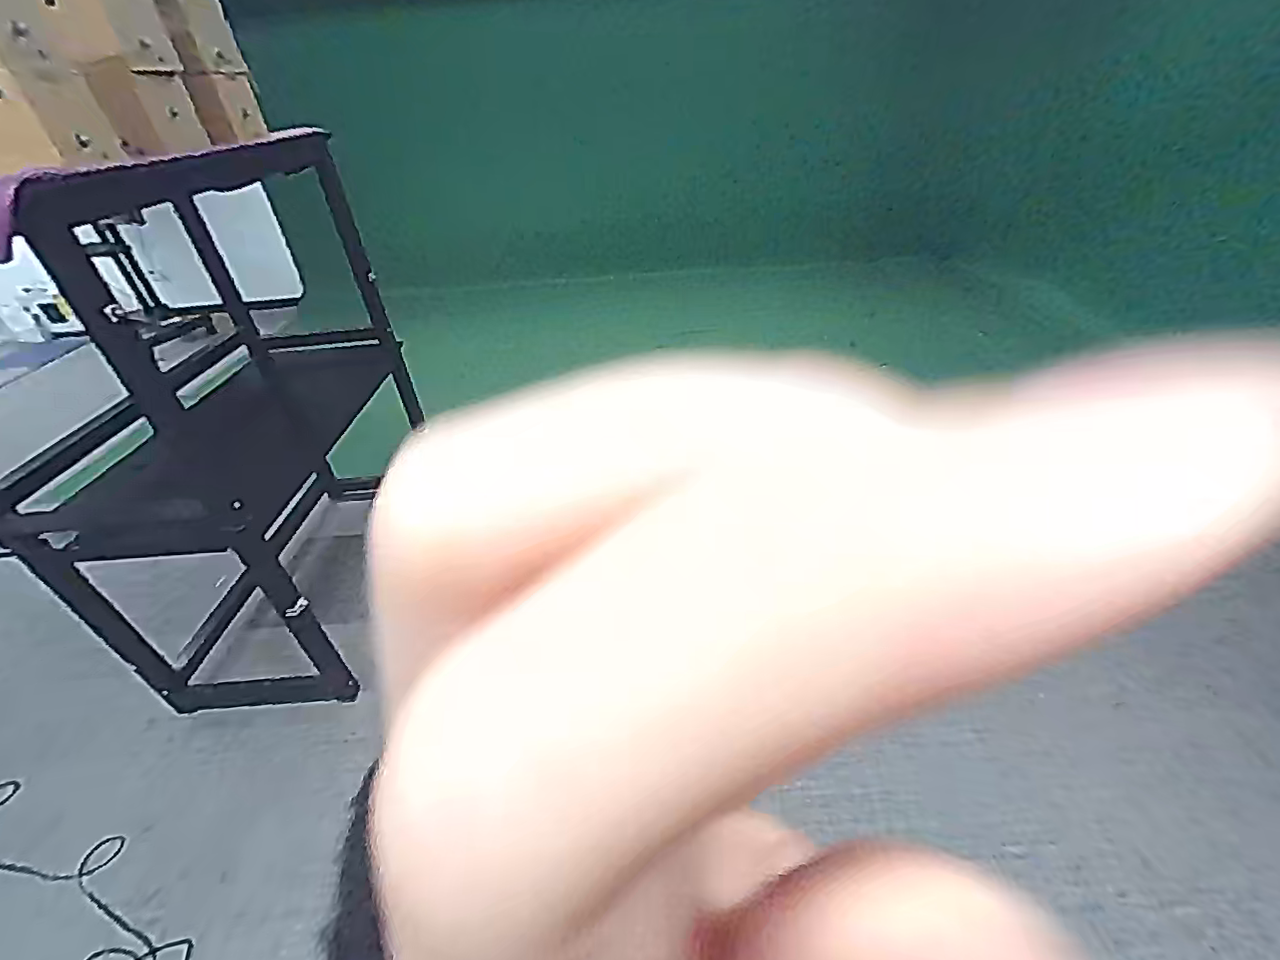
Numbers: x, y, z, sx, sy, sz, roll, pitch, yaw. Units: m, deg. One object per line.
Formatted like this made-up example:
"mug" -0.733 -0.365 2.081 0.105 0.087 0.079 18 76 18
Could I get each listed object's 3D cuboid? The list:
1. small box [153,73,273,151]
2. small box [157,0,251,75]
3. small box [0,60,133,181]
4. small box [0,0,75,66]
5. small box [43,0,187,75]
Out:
"small box" -1.182 -1.035 1.517 0.179 0.176 0.168 -3 36 0
"small box" -1.191 -1.172 1.428 0.179 0.176 0.168 -1 38 2
"small box" -1.140 -0.673 1.020 0.179 0.176 0.168 -7 36 -2
"small box" -1.162 -0.806 0.925 0.179 0.176 0.168 -7 36 -3
"small box" -1.173 -1.001 1.191 0.179 0.176 0.168 -1 37 2
